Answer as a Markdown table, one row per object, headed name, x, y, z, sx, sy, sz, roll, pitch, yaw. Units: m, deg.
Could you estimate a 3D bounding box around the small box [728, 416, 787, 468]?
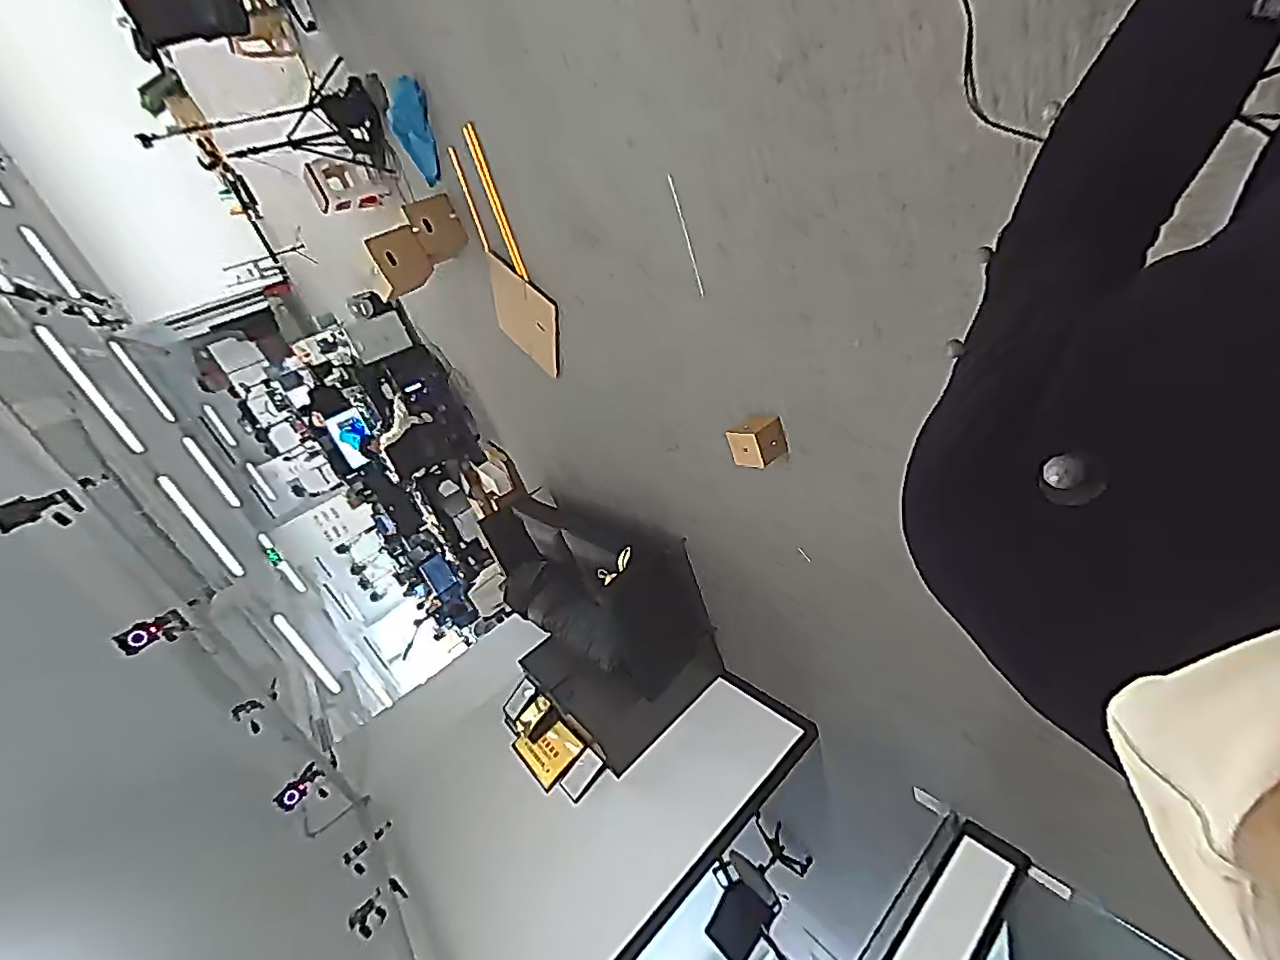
| name | x | y | z | sx | sy | sz | roll | pitch | yaw |
| --- | --- | --- | --- | --- | --- | --- | --- | --- | --- |
| small box | 0.524 | -0.172 | 2.372 | 0.179 | 0.176 | 0.168 | 12 | 129 | 54 |
